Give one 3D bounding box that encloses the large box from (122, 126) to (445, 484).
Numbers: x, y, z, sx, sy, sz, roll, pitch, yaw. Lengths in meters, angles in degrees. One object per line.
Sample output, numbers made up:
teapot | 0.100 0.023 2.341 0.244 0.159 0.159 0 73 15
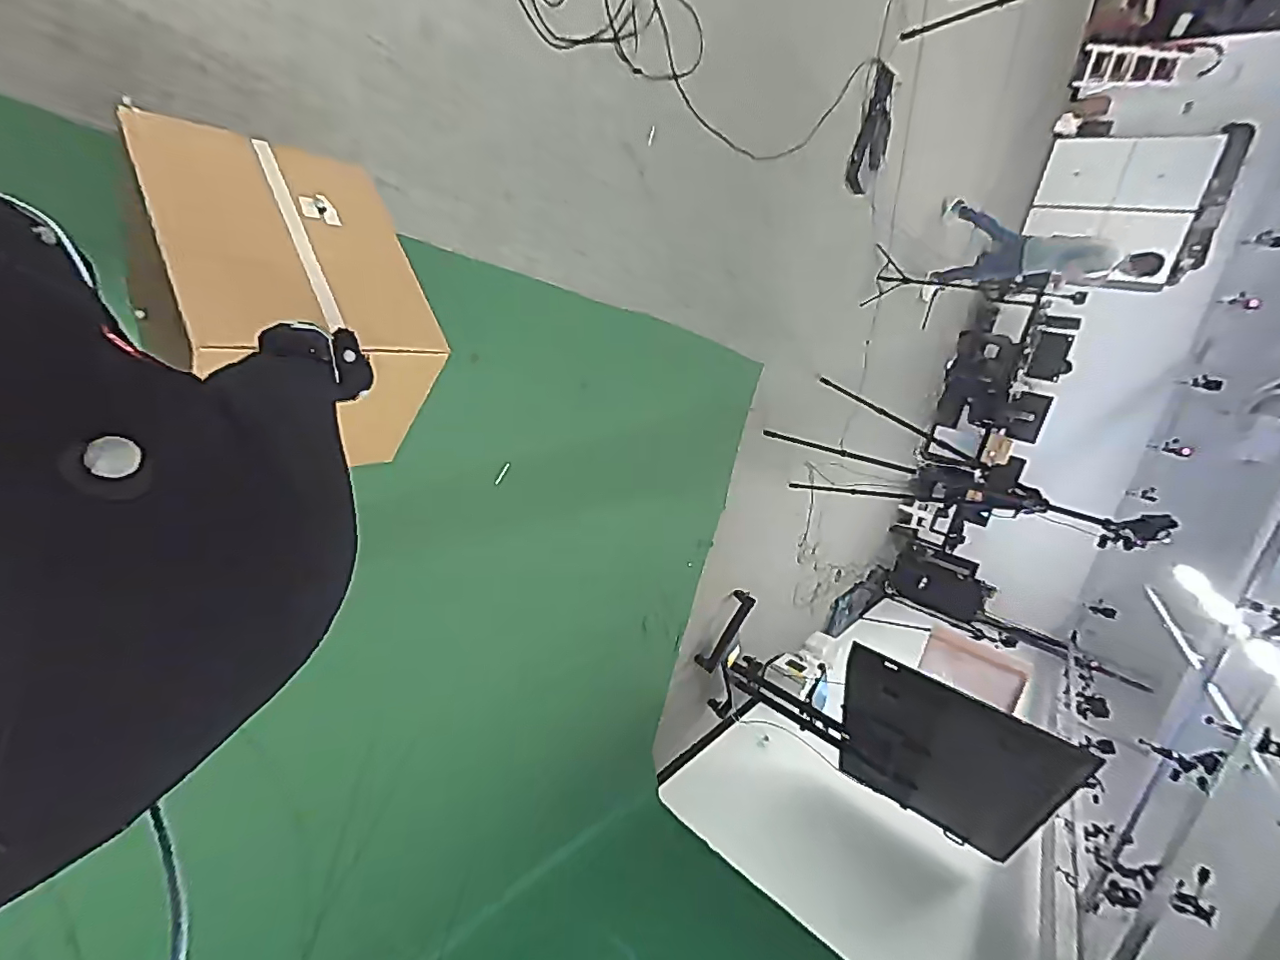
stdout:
large box | -0.580 -0.257 0.878 0.320 0.408 0.320 -12 158 -47
